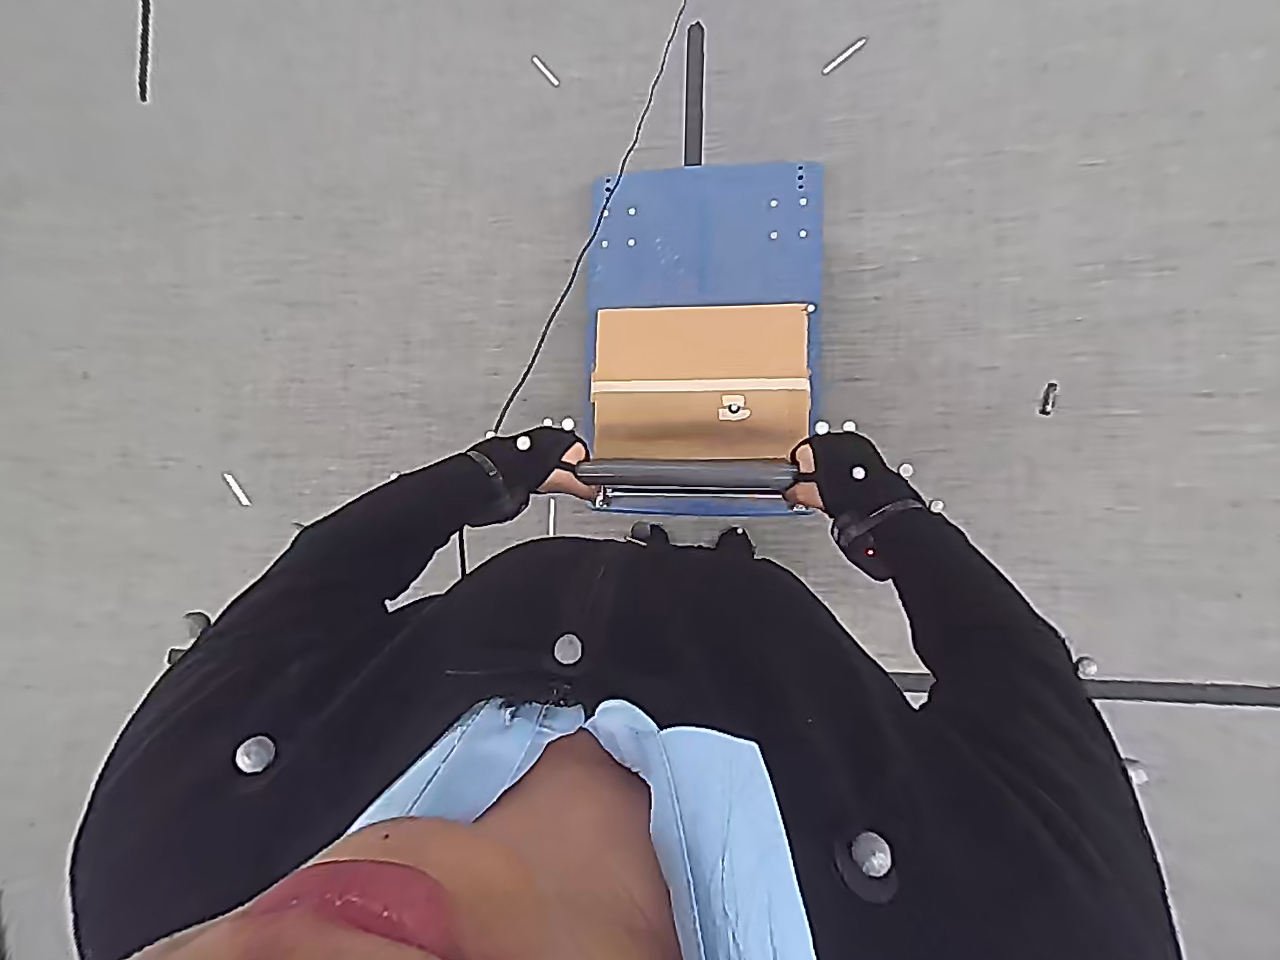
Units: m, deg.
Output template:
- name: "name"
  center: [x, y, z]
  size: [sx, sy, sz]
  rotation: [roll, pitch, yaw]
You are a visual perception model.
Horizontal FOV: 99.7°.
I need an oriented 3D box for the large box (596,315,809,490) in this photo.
- name: "large box"
  center: [0.128, -0.143, 1.168]
  size: [0.408, 0.320, 0.320]
  rotation: [1, 86, 7]
